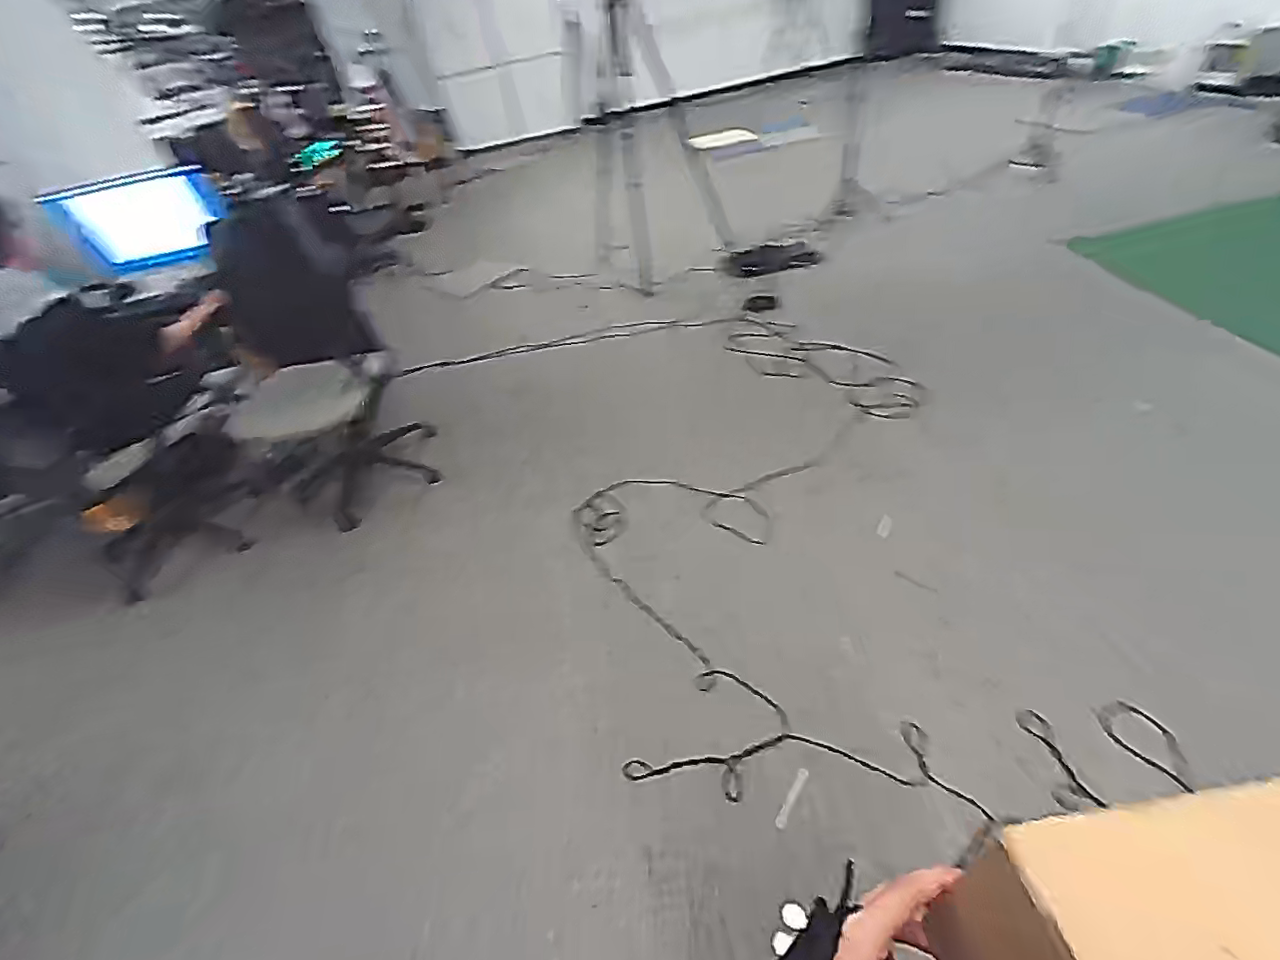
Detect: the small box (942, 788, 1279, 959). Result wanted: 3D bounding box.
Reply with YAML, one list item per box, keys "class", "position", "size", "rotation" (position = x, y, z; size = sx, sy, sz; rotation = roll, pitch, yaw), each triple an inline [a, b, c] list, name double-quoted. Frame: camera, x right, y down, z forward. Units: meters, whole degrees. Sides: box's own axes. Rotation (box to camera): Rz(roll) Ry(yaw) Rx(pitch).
- class: "small box"
  position: [0.266, 0.268, 0.245]
  size: [0.179, 0.176, 0.168]
  rotation: [-9, 39, 0]
